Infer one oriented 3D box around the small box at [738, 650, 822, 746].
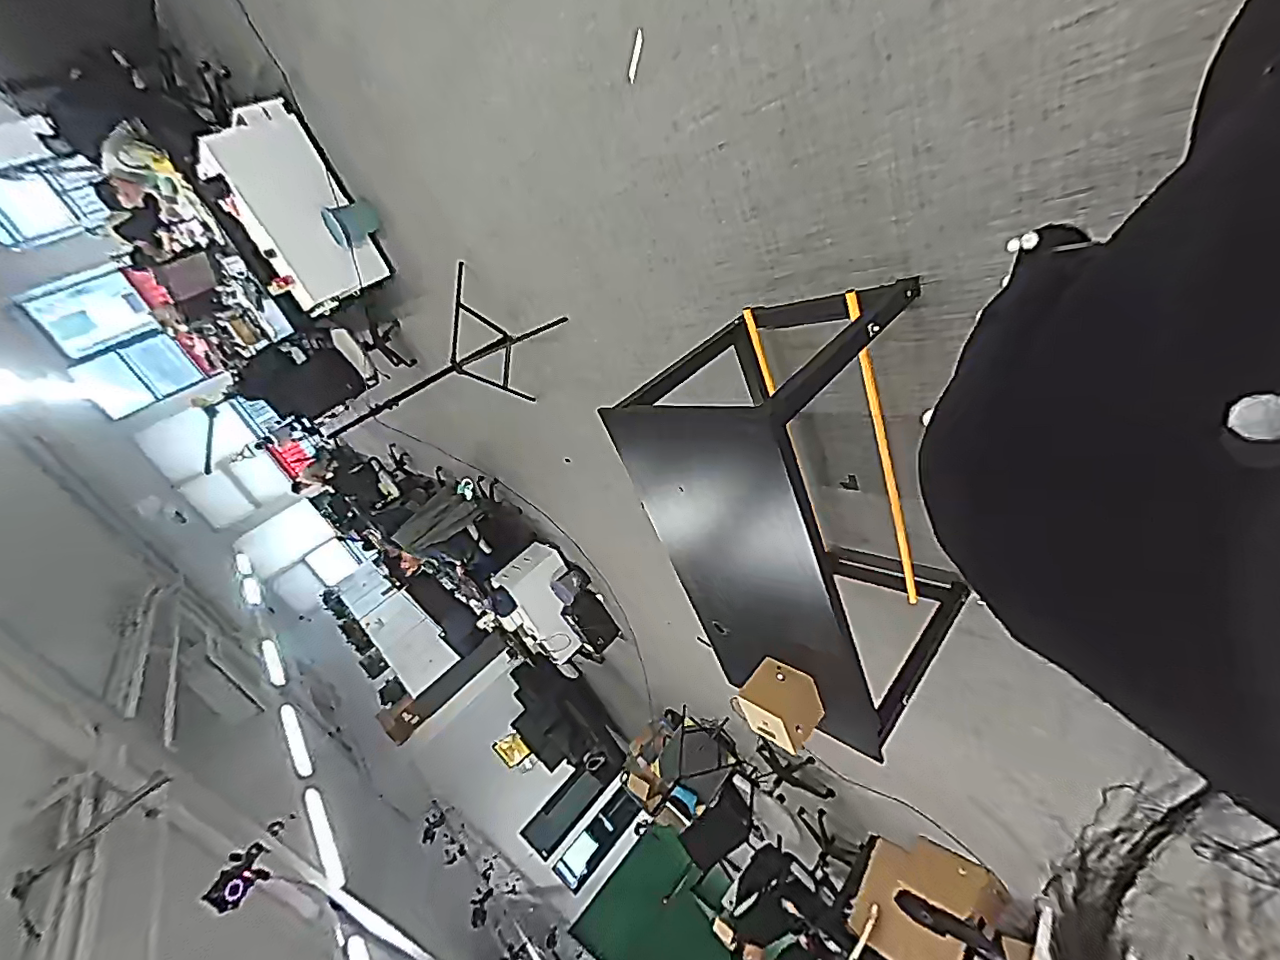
[{"bbox_3d":[0.435,0.663,1.659,0.168,0.176,0.179,11,134,49],"label":"small box"}]
